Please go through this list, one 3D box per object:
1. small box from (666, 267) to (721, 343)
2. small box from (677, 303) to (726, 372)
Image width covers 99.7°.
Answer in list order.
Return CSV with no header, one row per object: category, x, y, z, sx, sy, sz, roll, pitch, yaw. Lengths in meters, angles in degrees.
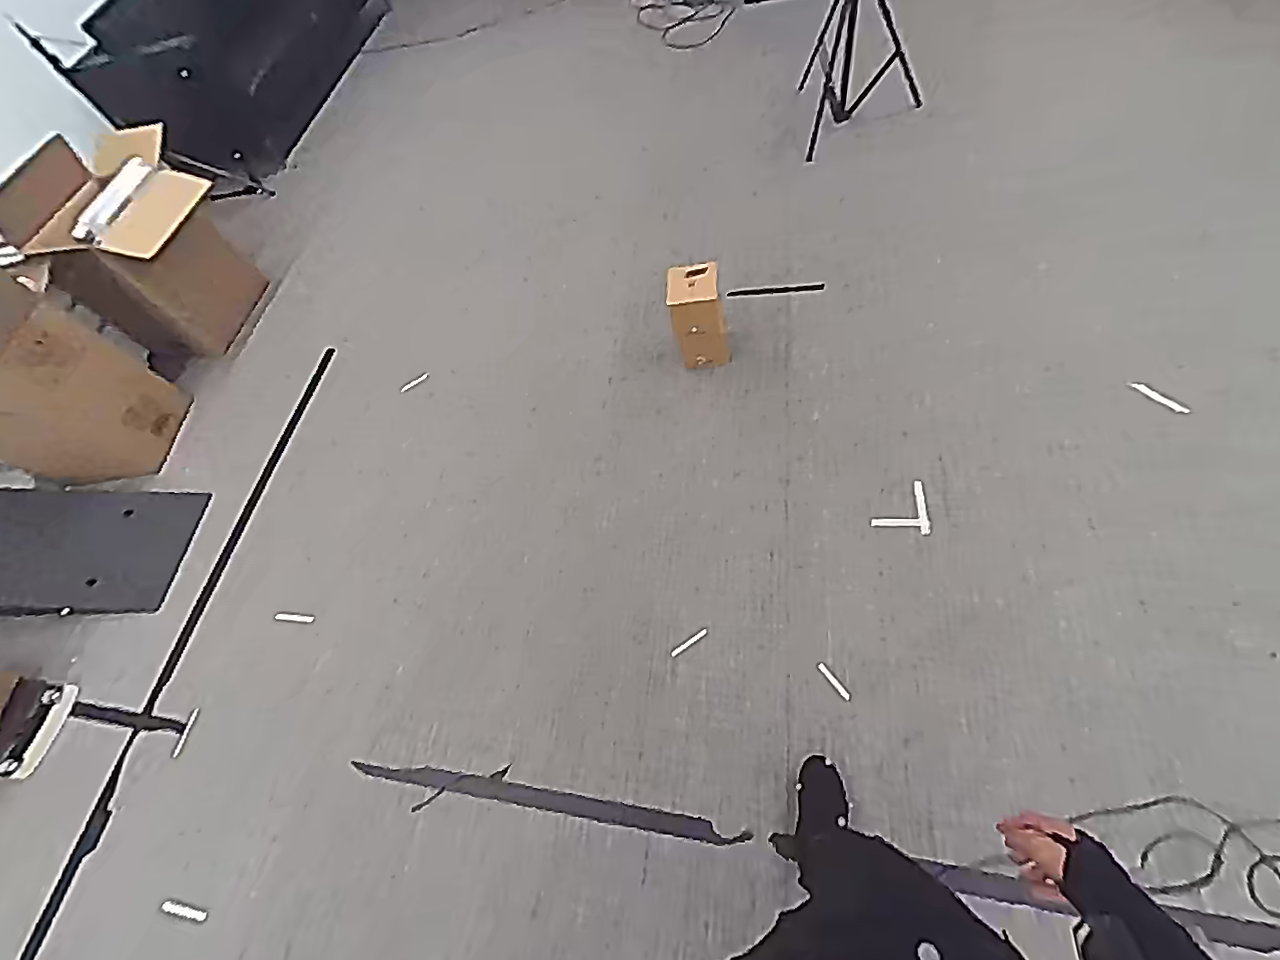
small box,0.187,-0.597,1.858,0.168,0.176,0.179,-3,61,13
small box,0.229,-0.523,1.998,0.168,0.176,0.179,-5,61,11
